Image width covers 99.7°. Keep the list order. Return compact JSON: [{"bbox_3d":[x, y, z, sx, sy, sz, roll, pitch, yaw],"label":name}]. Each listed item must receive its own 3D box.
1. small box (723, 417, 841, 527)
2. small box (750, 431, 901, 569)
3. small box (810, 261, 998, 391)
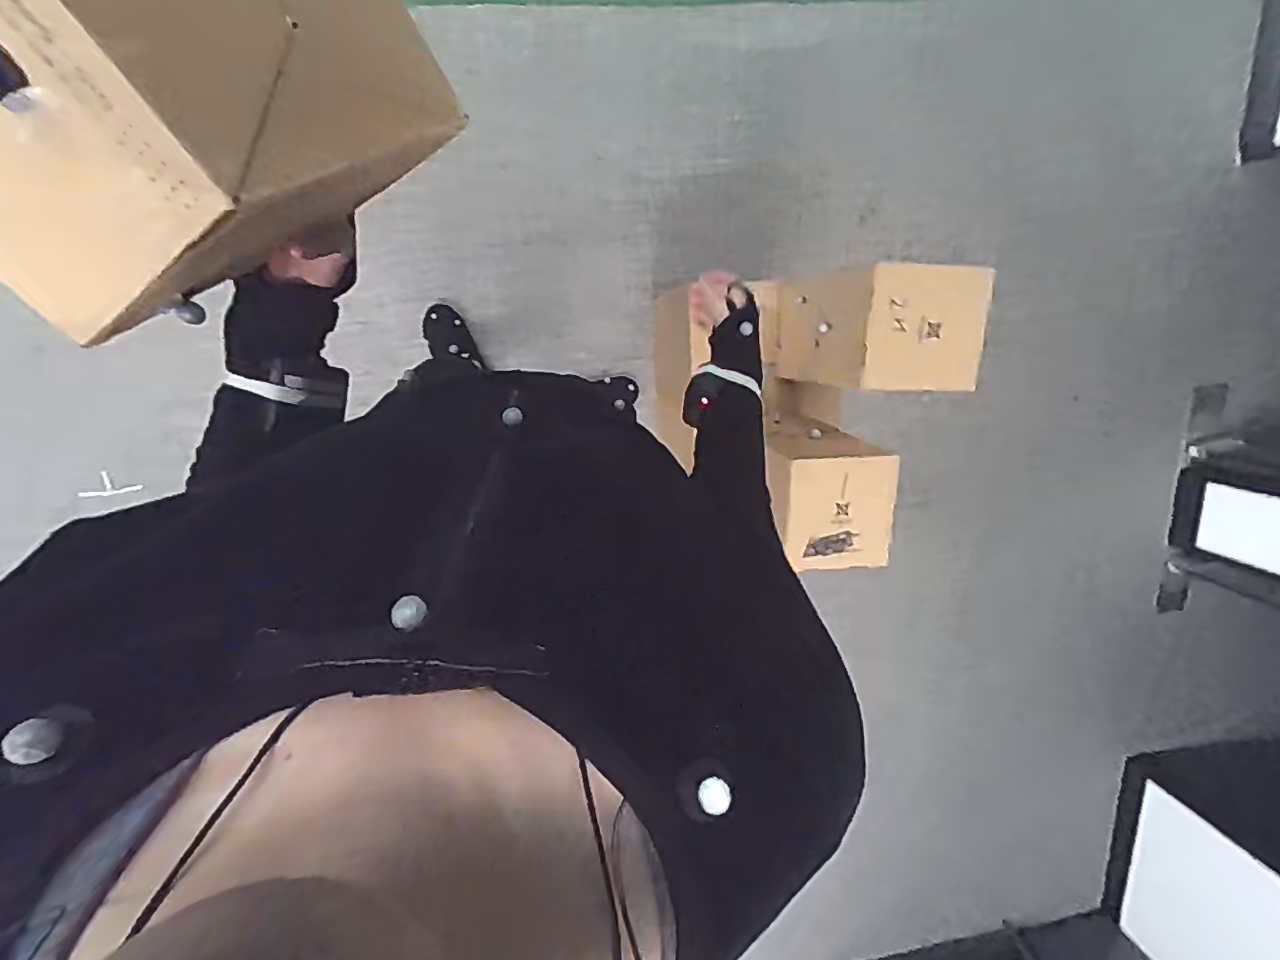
[{"bbox_3d":[0.257,-0.024,1.015,0.168,0.176,0.179,-2,105,-5],"label":"small box"},{"bbox_3d":[0.280,0.025,0.860,0.168,0.176,0.179,-2,106,-7],"label":"small box"},{"bbox_3d":[0.380,-0.226,0.808,0.179,0.176,0.168,0,104,-8],"label":"small box"}]
